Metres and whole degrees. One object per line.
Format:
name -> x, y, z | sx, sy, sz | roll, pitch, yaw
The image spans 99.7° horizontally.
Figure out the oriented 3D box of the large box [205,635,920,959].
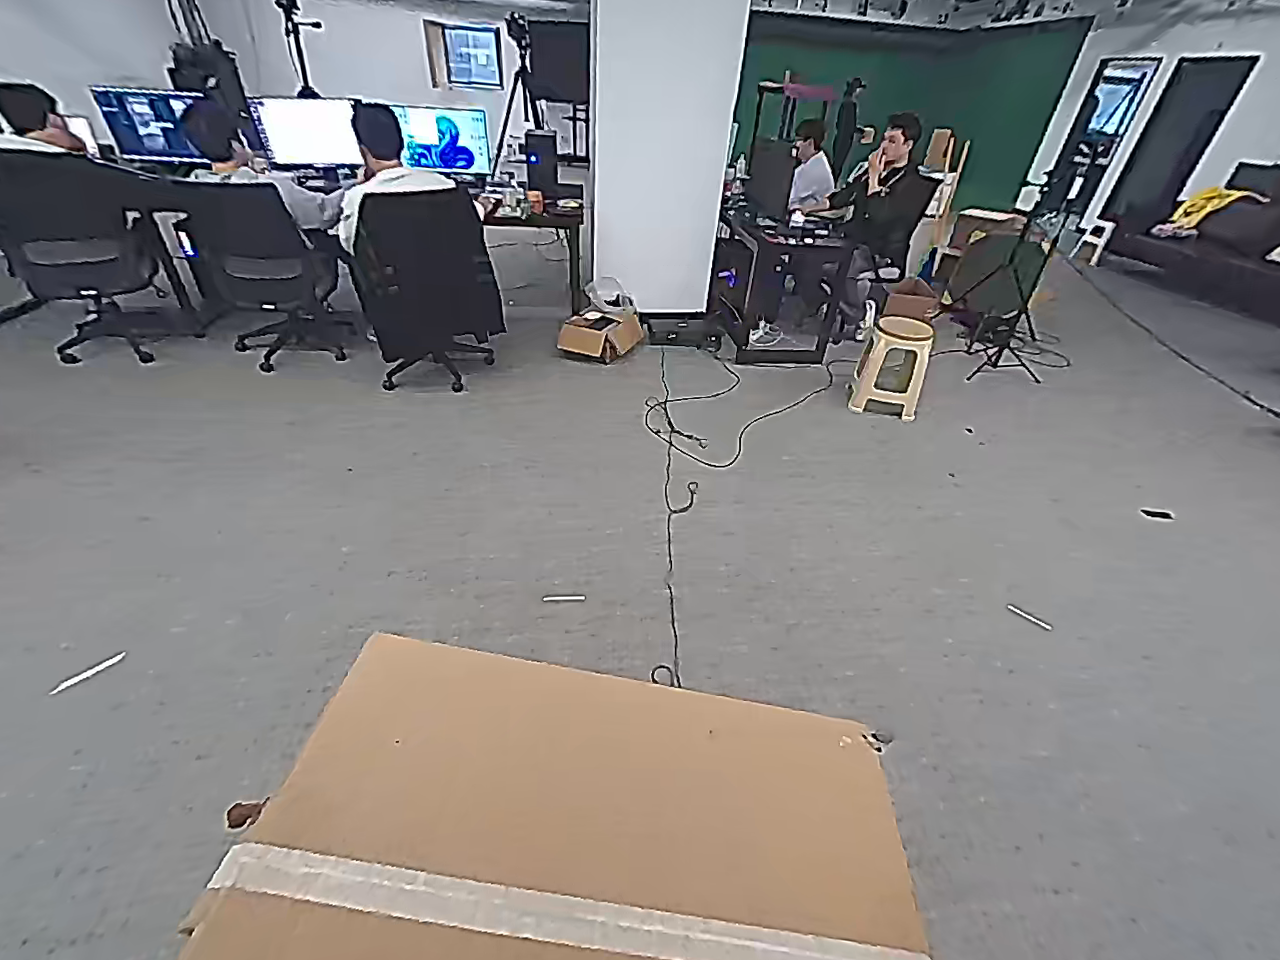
large box -> -0.052, 0.367, 0.411 | 0.408, 0.320, 0.320 | 12, 38, -2
